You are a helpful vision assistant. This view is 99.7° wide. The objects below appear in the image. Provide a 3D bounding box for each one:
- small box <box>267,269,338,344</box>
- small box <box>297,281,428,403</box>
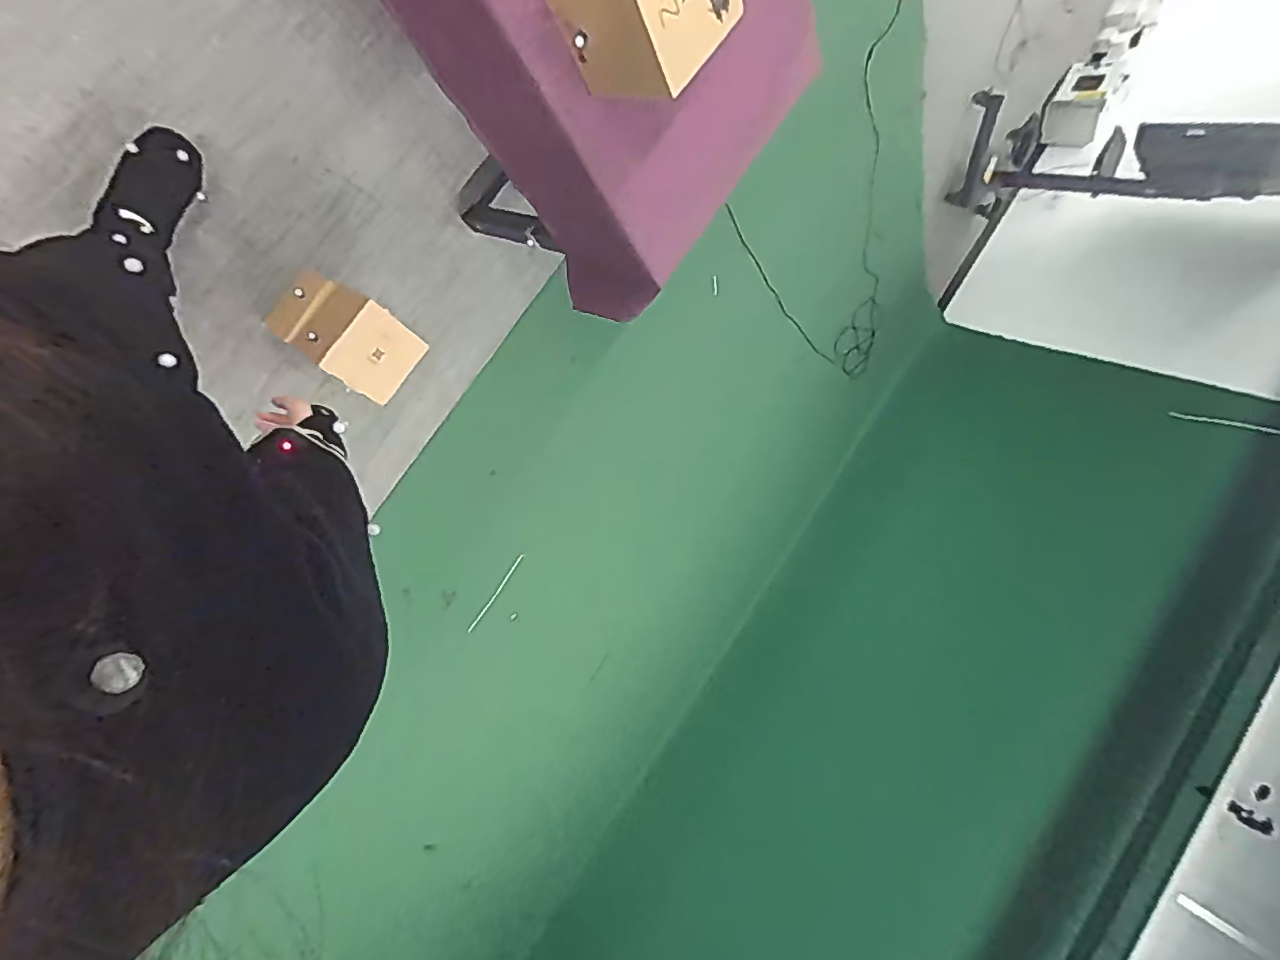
[{"bbox_3d":[-0.736,-0.376,1.280,0.168,0.176,0.179,-57,145,-4],"label":"small box"},{"bbox_3d":[-0.617,-0.306,1.193,0.179,0.176,0.168,-56,146,-6],"label":"small box"}]
